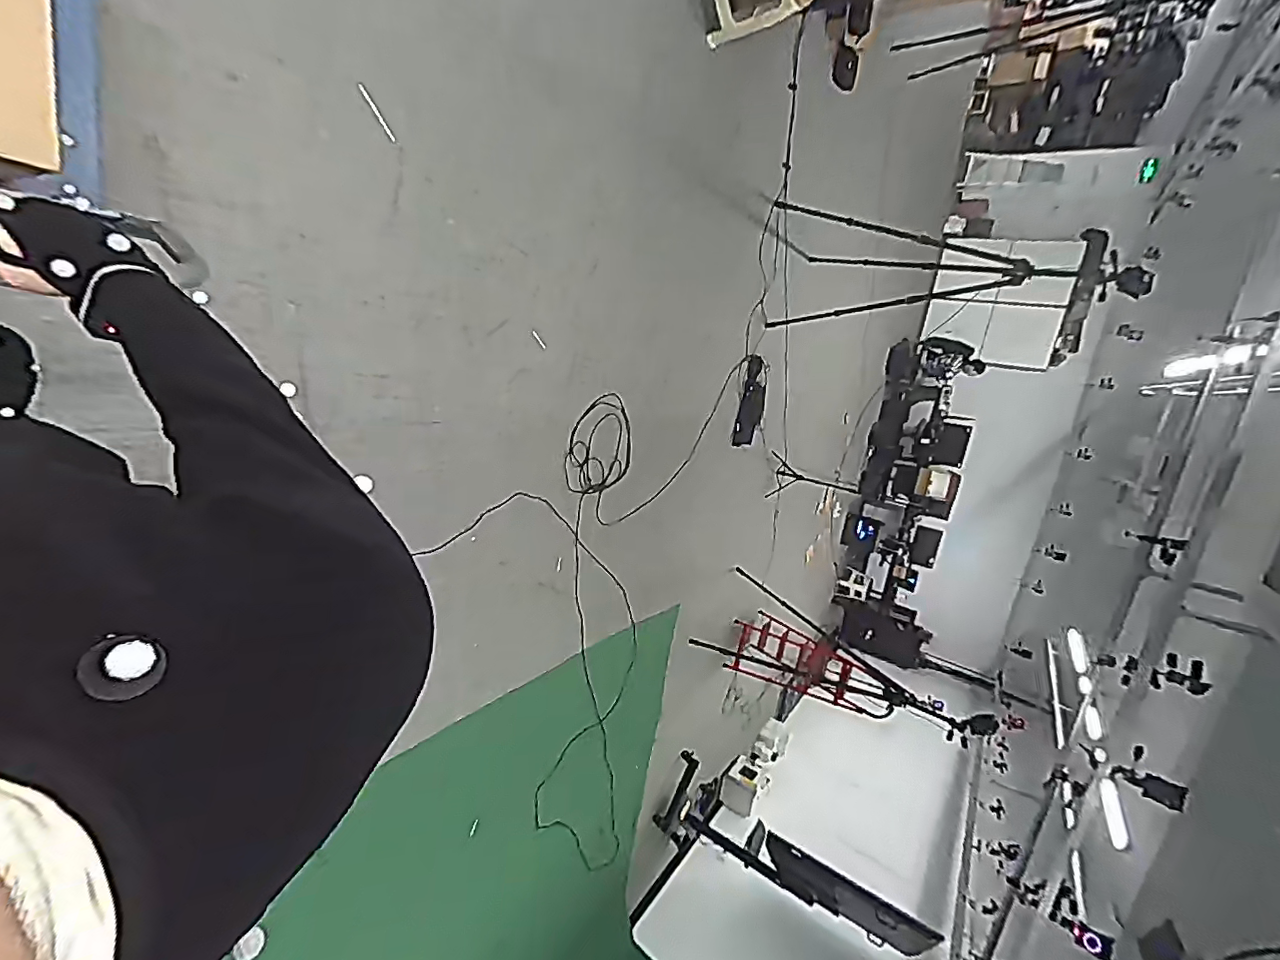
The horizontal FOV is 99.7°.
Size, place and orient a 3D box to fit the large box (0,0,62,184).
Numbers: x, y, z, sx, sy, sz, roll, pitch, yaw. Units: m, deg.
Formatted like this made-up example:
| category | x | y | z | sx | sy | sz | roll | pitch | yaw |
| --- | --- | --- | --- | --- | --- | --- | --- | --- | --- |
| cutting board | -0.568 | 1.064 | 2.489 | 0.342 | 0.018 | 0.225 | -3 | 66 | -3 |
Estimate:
| category | x | y | z | sx | sy | sz | roll | pitch | yaw |
| --- | --- | --- | --- | --- | --- | --- | --- | --- | --- |
| large box | -0.995 | -0.639 | 0.672 | 0.320 | 0.320 | 0.408 | -11 | 112 | -55 |
